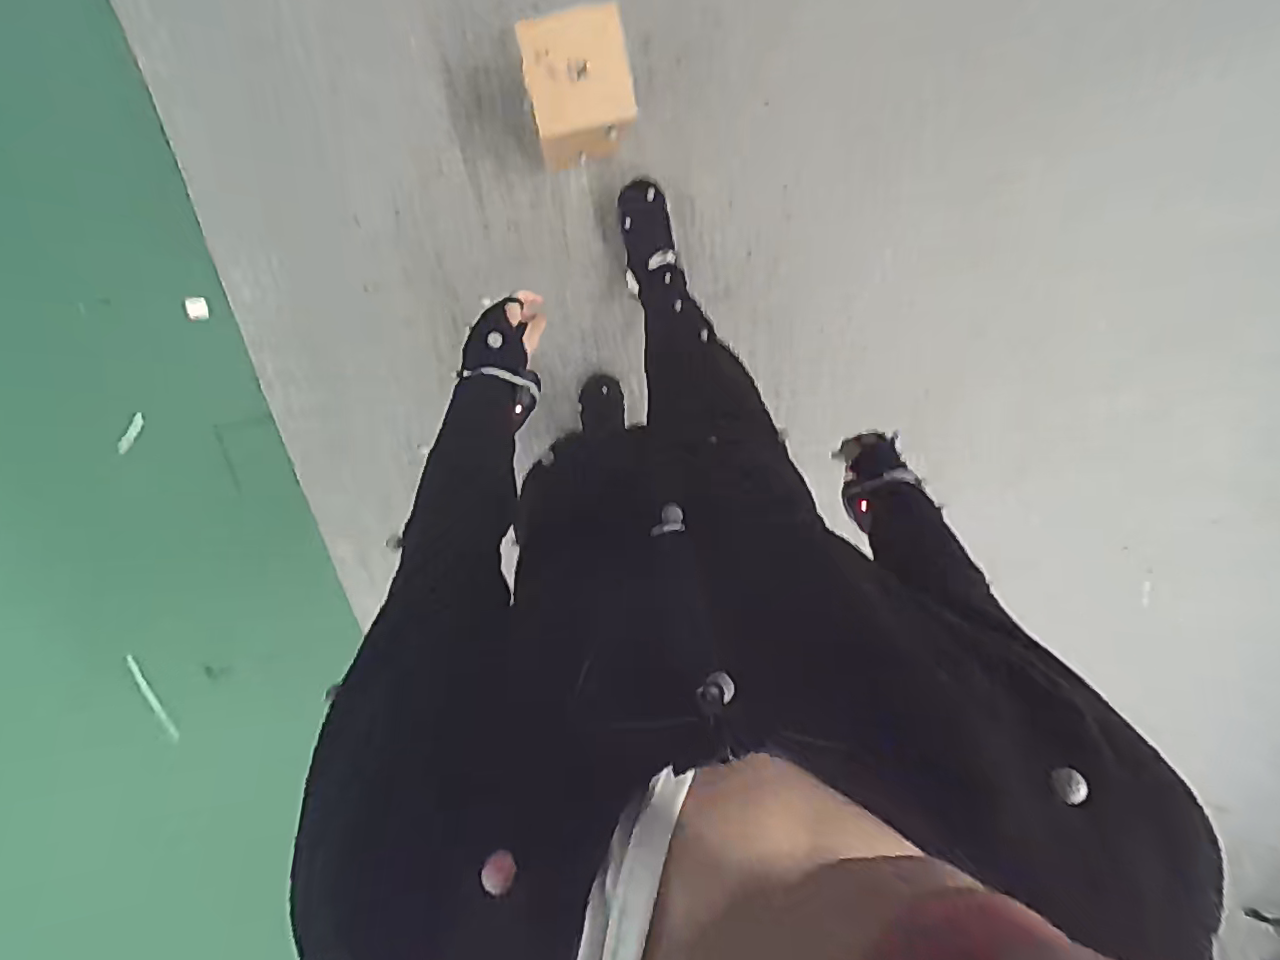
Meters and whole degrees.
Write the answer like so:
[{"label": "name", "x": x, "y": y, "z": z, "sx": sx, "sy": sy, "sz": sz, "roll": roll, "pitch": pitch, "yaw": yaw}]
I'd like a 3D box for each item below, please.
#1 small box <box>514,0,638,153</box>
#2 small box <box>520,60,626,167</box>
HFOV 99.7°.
[{"label": "small box", "x": -0.111, "y": -0.705, "z": 0.964, "sx": 0.179, "sy": 0.176, "sz": 0.168, "roll": -12, "pitch": 112, "yaw": -1}, {"label": "small box", "x": -0.135, "y": -0.766, "z": 1.116, "sx": 0.179, "sy": 0.176, "sz": 0.168, "roll": -13, "pitch": 113, "yaw": 0}]
